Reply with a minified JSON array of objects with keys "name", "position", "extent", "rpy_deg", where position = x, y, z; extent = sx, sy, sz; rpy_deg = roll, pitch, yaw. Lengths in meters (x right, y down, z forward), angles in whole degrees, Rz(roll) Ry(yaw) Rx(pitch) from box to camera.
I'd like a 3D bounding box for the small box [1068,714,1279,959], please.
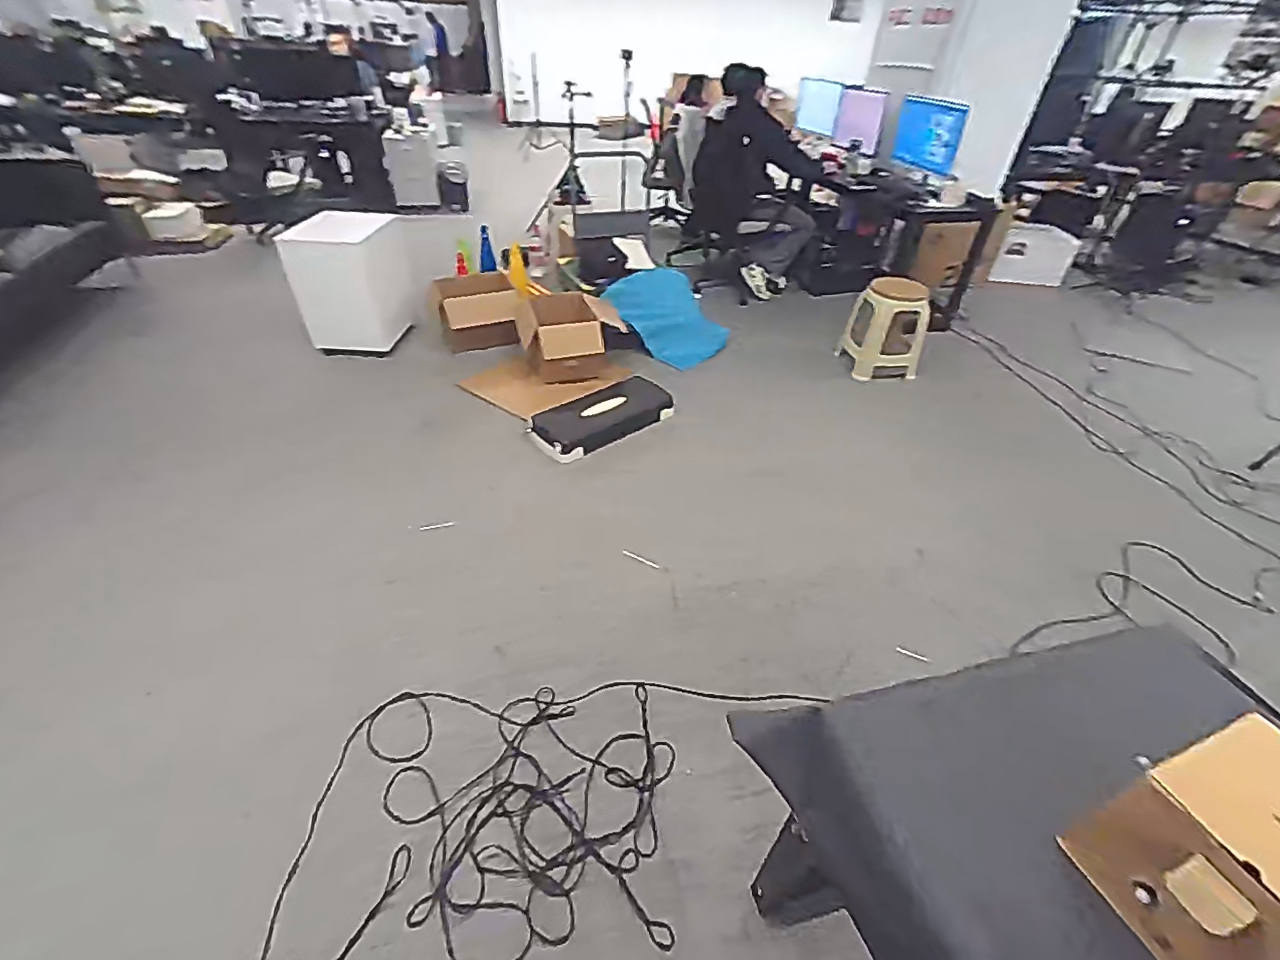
[{"name":"small box","position":[0.571,0.363,0.515],"extent":[0.179,0.176,0.168],"rpy_deg":[-12,42,-18]}]
